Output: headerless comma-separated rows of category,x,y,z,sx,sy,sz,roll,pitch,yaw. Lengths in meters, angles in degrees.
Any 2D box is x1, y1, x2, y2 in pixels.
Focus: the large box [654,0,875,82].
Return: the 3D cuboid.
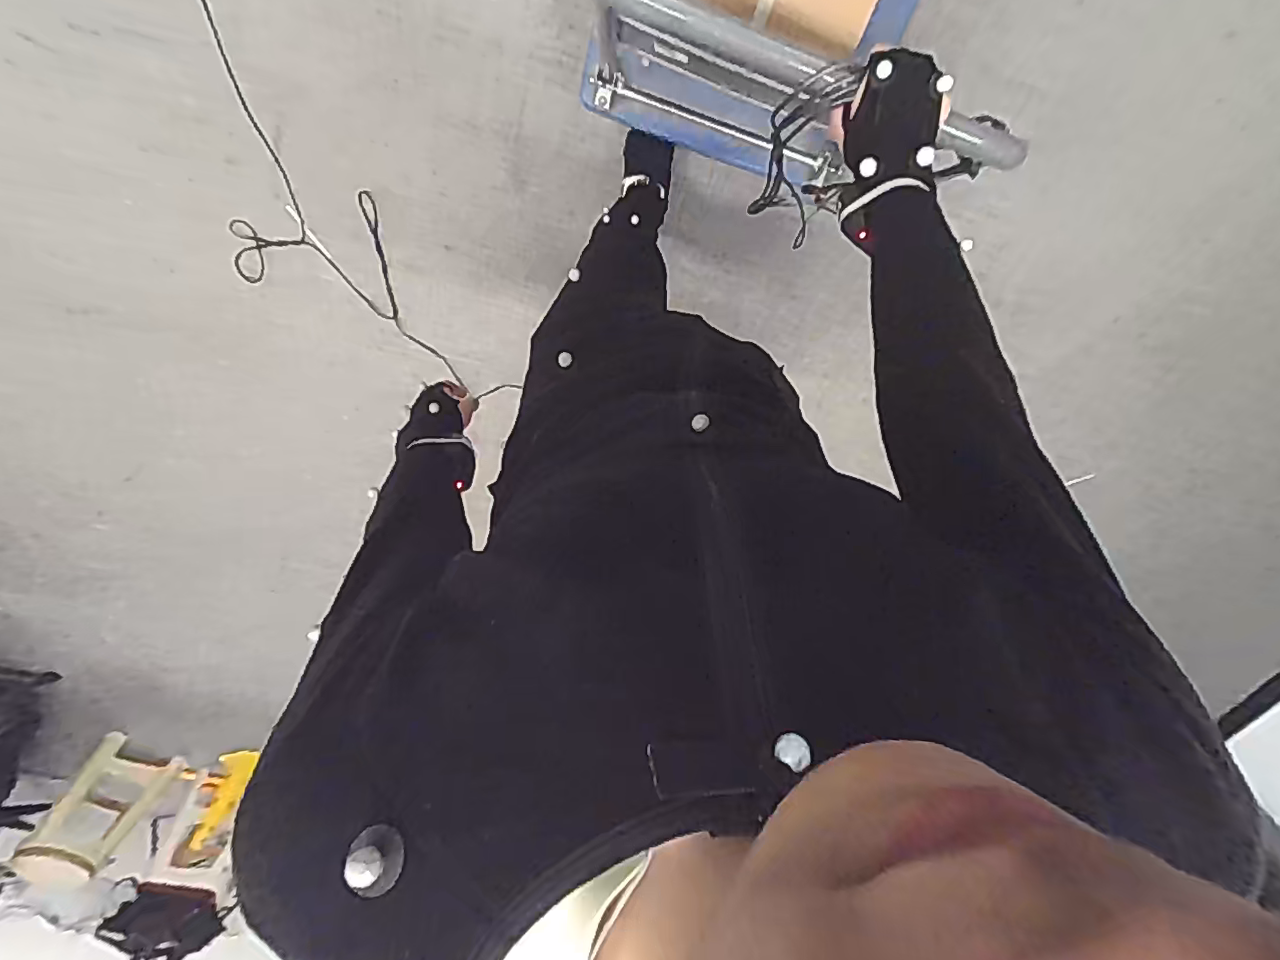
large box,0.229,-0.905,0.815,0.320,0.320,0.408,16,119,-11
